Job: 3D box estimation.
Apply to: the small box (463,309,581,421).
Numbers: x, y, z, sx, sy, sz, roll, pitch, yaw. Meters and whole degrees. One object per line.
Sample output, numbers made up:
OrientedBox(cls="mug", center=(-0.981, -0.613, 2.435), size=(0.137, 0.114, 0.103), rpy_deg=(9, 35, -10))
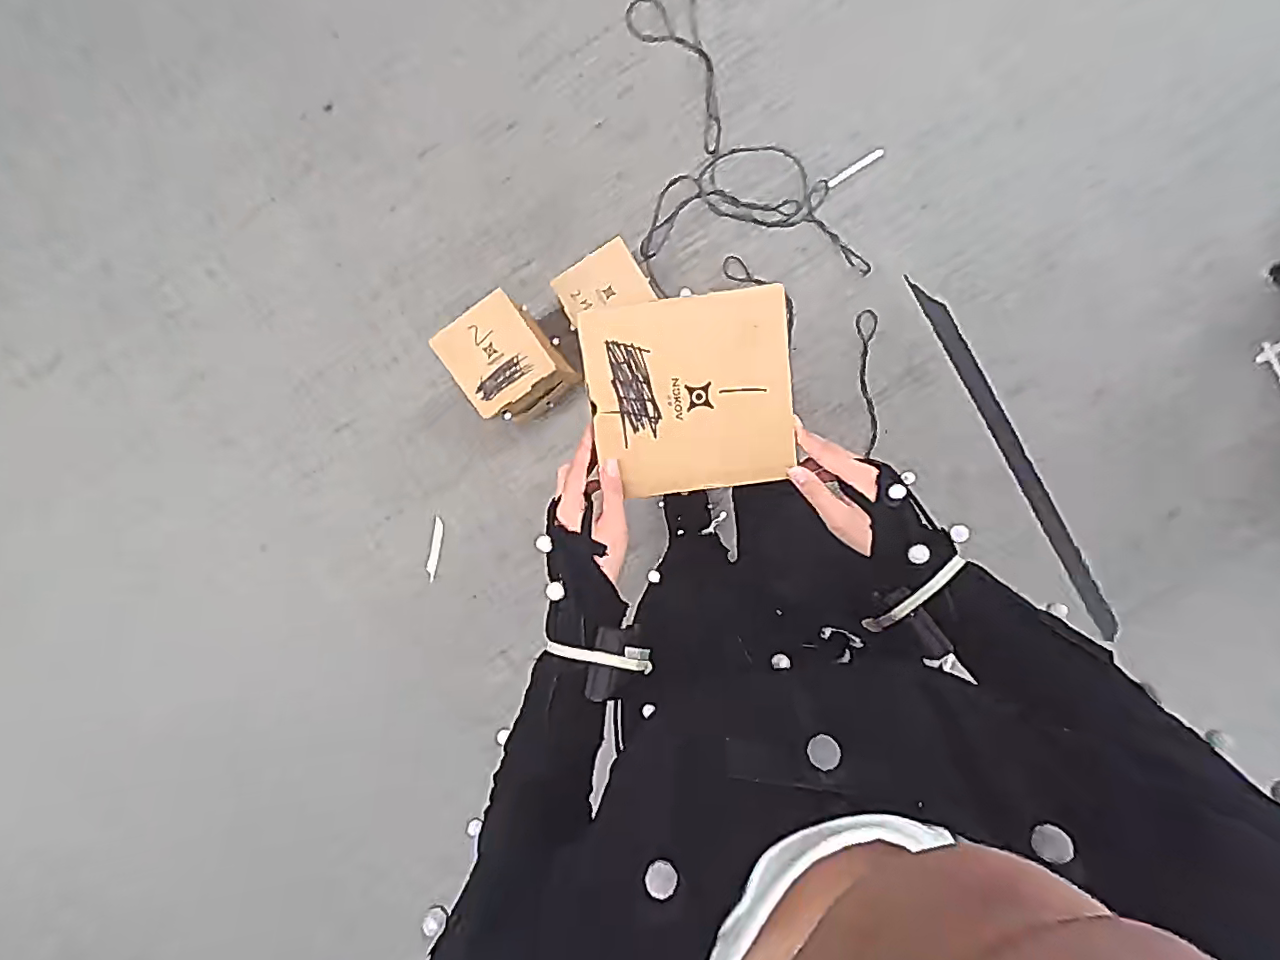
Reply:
OrientedBox(cls="small box", center=(-0.253, -0.246, 1.199), size=(0.168, 0.176, 0.179), rpy_deg=(-40, 95, 6))

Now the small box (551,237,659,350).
OrientedBox(cls="small box", center=(-0.068, -0.386, 1.172), size=(0.179, 0.176, 0.168), rpy_deg=(-31, 95, 6))

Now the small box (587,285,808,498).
OrientedBox(cls="small box", center=(0.055, -0.084, 0.529), size=(0.179, 0.176, 0.168), rpy_deg=(-5, 101, 4))
